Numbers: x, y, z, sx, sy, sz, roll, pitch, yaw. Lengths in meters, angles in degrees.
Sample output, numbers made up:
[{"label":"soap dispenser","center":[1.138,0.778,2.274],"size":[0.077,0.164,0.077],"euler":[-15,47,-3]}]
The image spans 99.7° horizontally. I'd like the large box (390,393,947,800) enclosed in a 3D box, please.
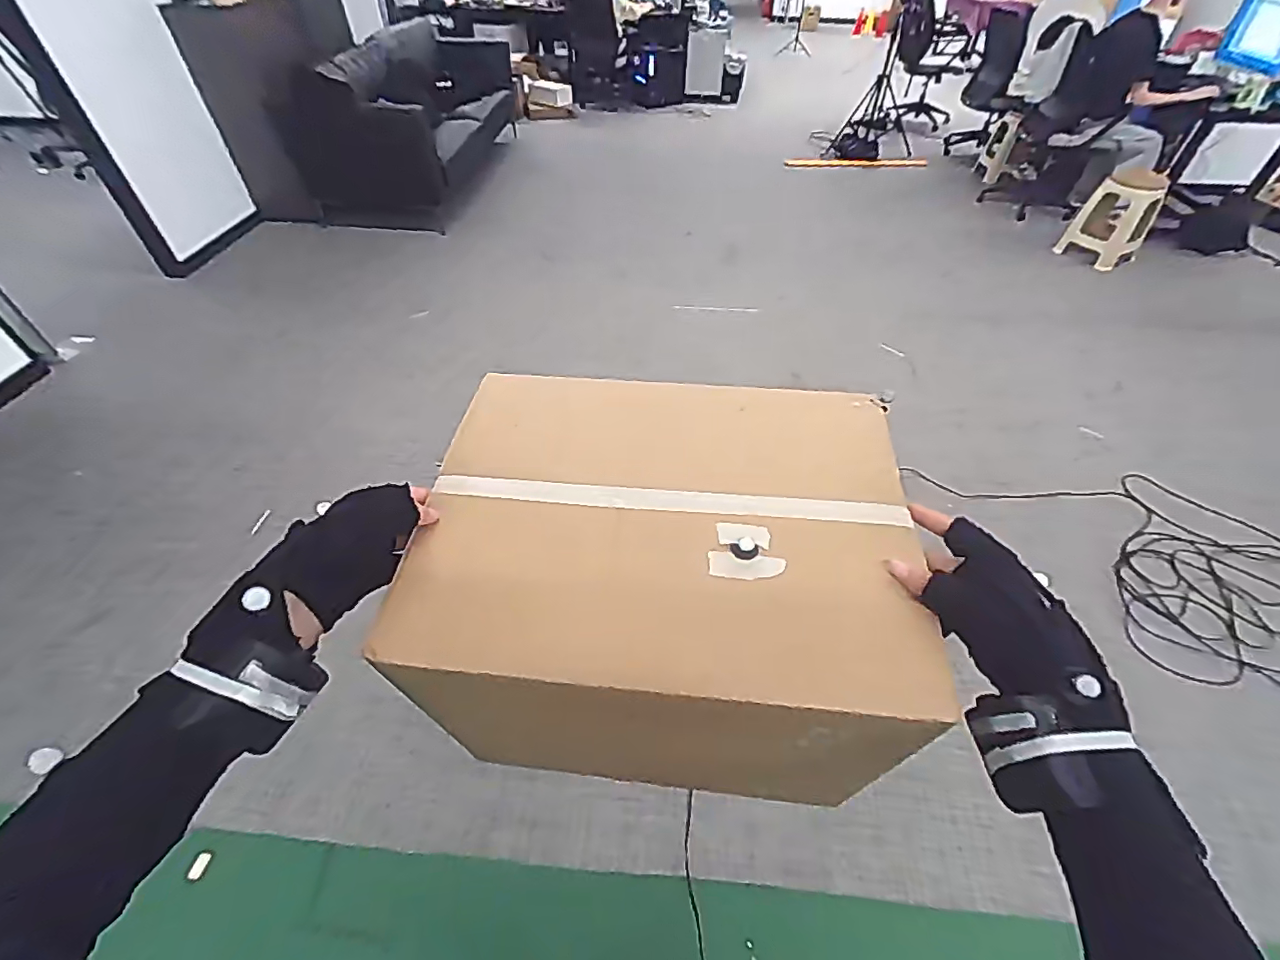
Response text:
[{"label":"large box","center":[0.029,0.127,0.586],"size":[0.408,0.320,0.320],"euler":[4,51,5]}]
